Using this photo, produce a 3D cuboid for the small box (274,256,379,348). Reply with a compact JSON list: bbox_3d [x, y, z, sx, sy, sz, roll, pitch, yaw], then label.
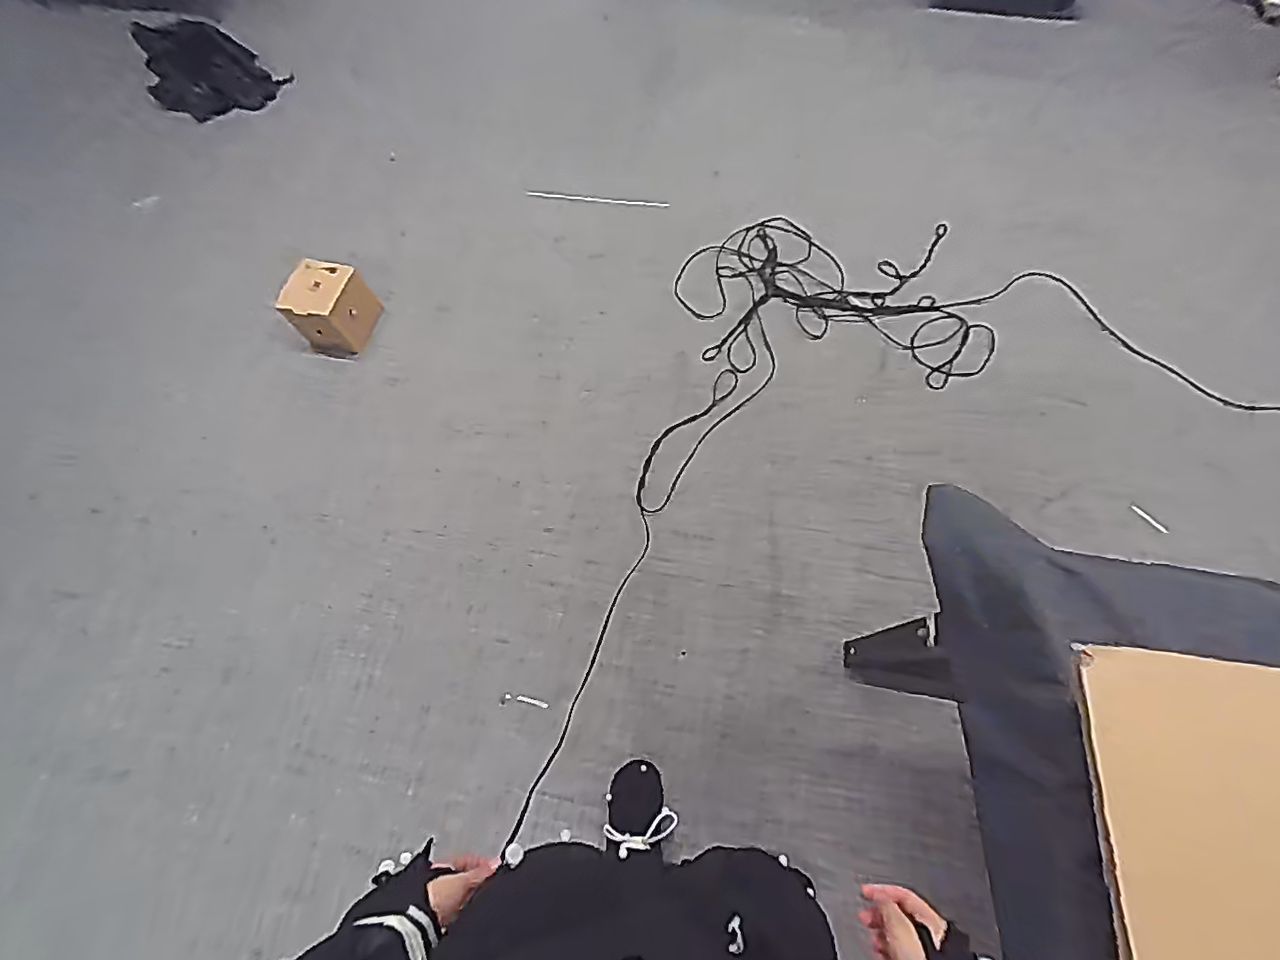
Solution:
[{"bbox_3d":[-0.886,-0.504,1.547,0.168,0.176,0.179,12,70,7],"label":"small box"}]
